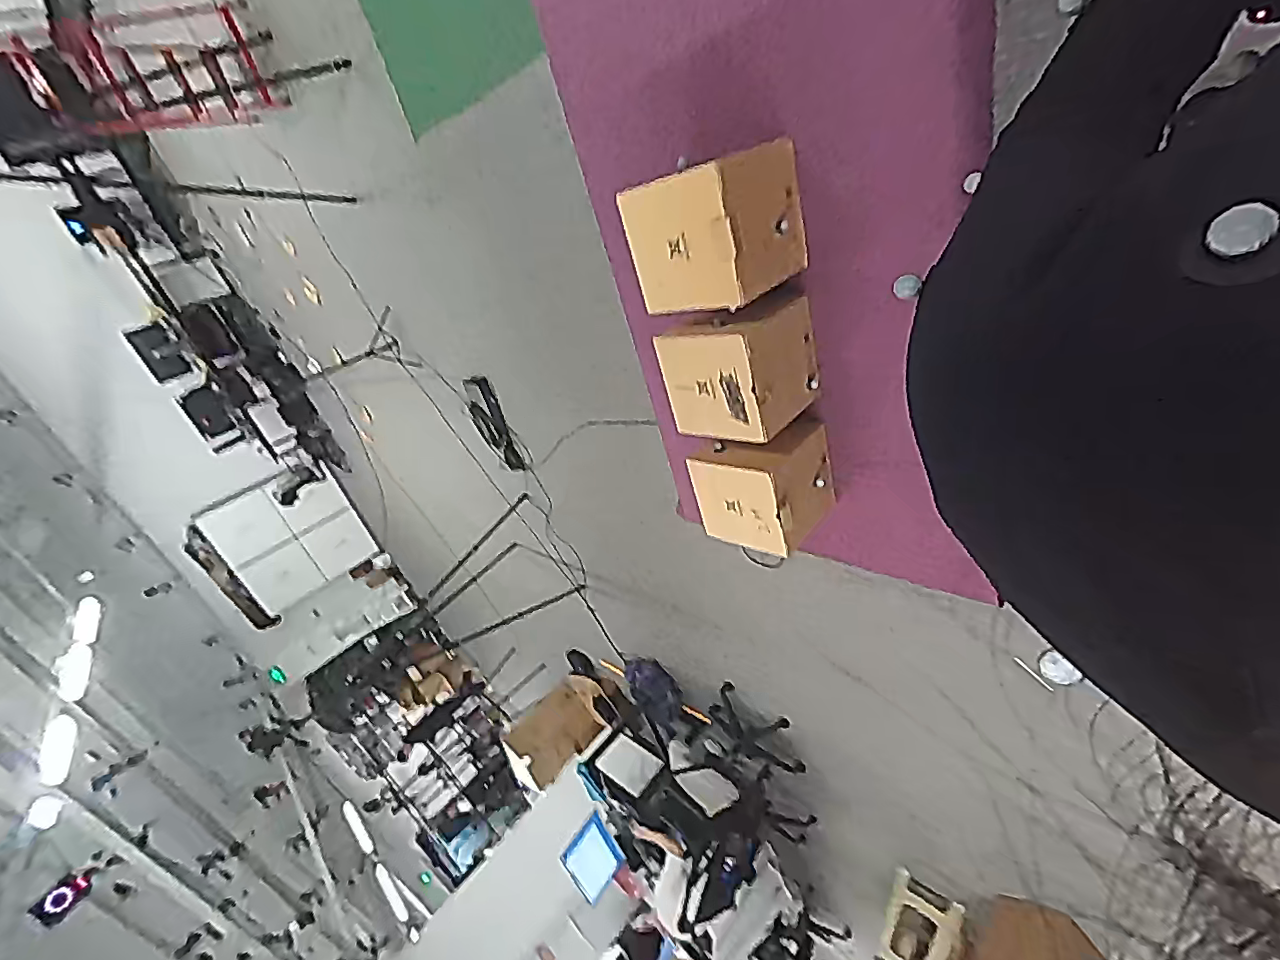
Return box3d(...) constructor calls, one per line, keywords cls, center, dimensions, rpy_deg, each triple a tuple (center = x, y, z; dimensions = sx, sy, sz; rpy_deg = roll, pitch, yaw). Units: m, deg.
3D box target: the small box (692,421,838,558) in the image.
box3d(cls="small box", center=(0.223, 0.006, 0.953), dimensions=(0.179, 0.176, 0.168), rpy_deg=(12, 130, 45))
